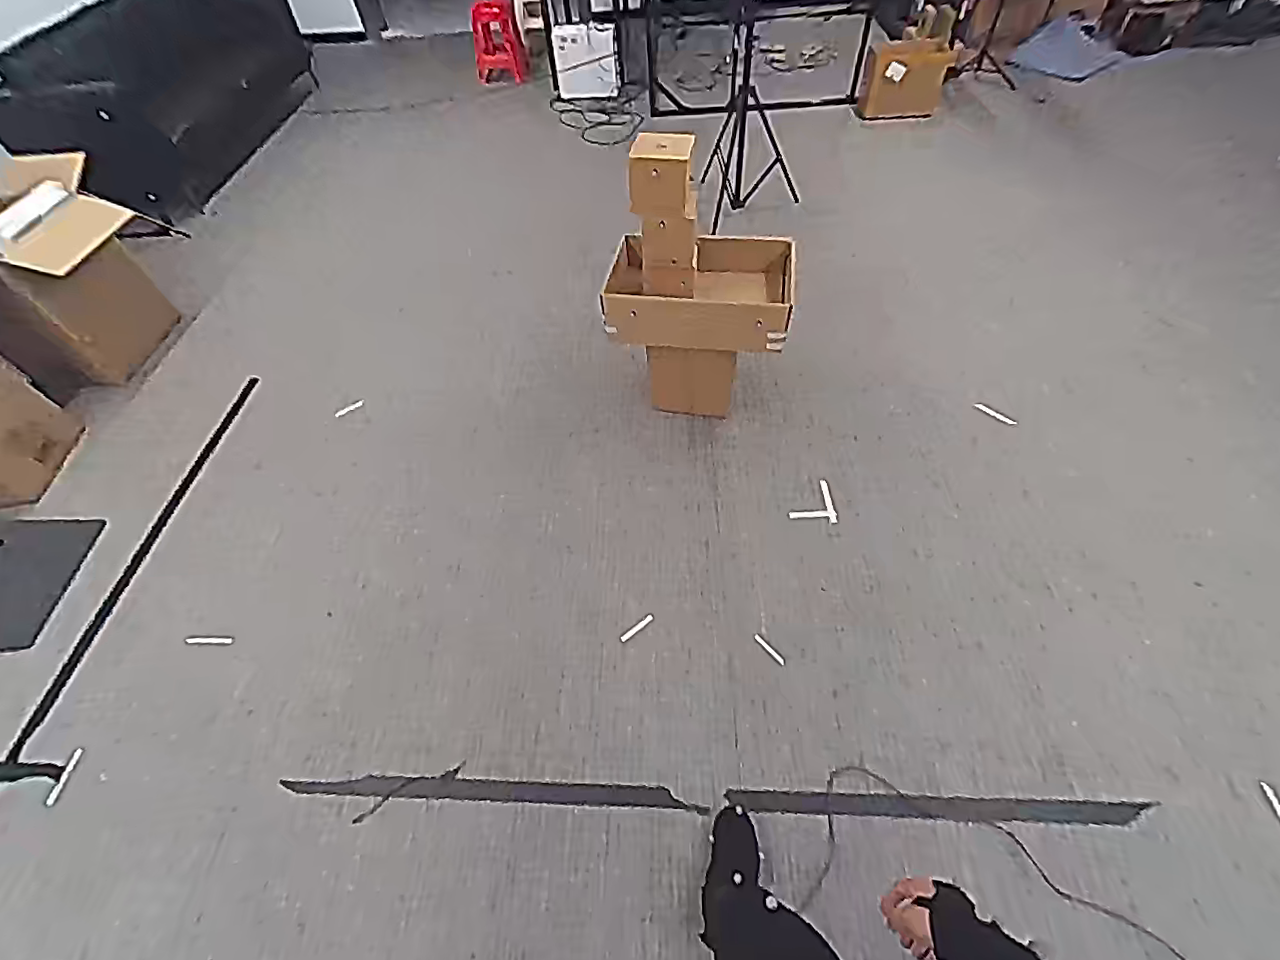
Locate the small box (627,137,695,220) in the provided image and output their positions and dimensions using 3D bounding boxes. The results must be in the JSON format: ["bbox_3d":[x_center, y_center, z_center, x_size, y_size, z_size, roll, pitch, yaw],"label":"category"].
[{"bbox_3d":[0.066,-0.903,1.627,0.179,0.176,0.168,7,53,9],"label":"small box"}]

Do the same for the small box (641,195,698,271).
[{"bbox_3d":[0.098,-0.802,1.753,0.168,0.176,0.179,5,53,7],"label":"small box"}]
